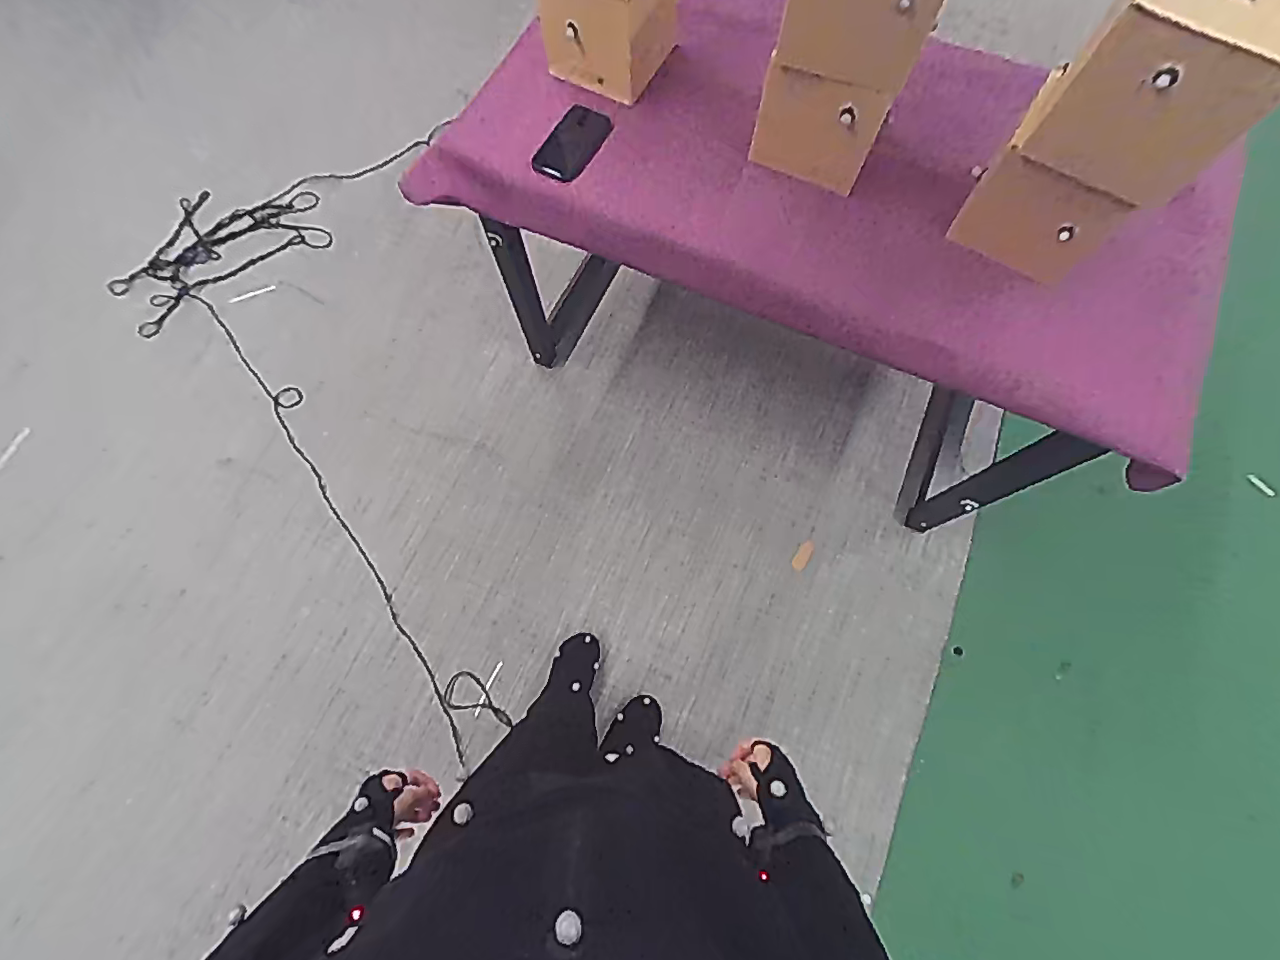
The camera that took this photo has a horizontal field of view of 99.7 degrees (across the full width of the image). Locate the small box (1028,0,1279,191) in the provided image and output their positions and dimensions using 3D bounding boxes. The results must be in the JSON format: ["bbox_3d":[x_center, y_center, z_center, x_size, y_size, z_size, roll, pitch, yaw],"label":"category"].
[{"bbox_3d":[0.590,-0.468,0.604,0.179,0.176,0.168,32,76,9],"label":"small box"}]

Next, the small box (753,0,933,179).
[{"bbox_3d":[0.293,-0.596,0.814,0.179,0.176,0.168,26,75,8],"label":"small box"}]

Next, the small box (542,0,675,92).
[{"bbox_3d":[-0.046,-0.782,0.875,0.168,0.176,0.179,26,75,8],"label":"small box"}]

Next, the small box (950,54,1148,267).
[{"bbox_3d":[0.591,-0.436,0.765,0.179,0.176,0.168,32,76,10],"label":"small box"}]
